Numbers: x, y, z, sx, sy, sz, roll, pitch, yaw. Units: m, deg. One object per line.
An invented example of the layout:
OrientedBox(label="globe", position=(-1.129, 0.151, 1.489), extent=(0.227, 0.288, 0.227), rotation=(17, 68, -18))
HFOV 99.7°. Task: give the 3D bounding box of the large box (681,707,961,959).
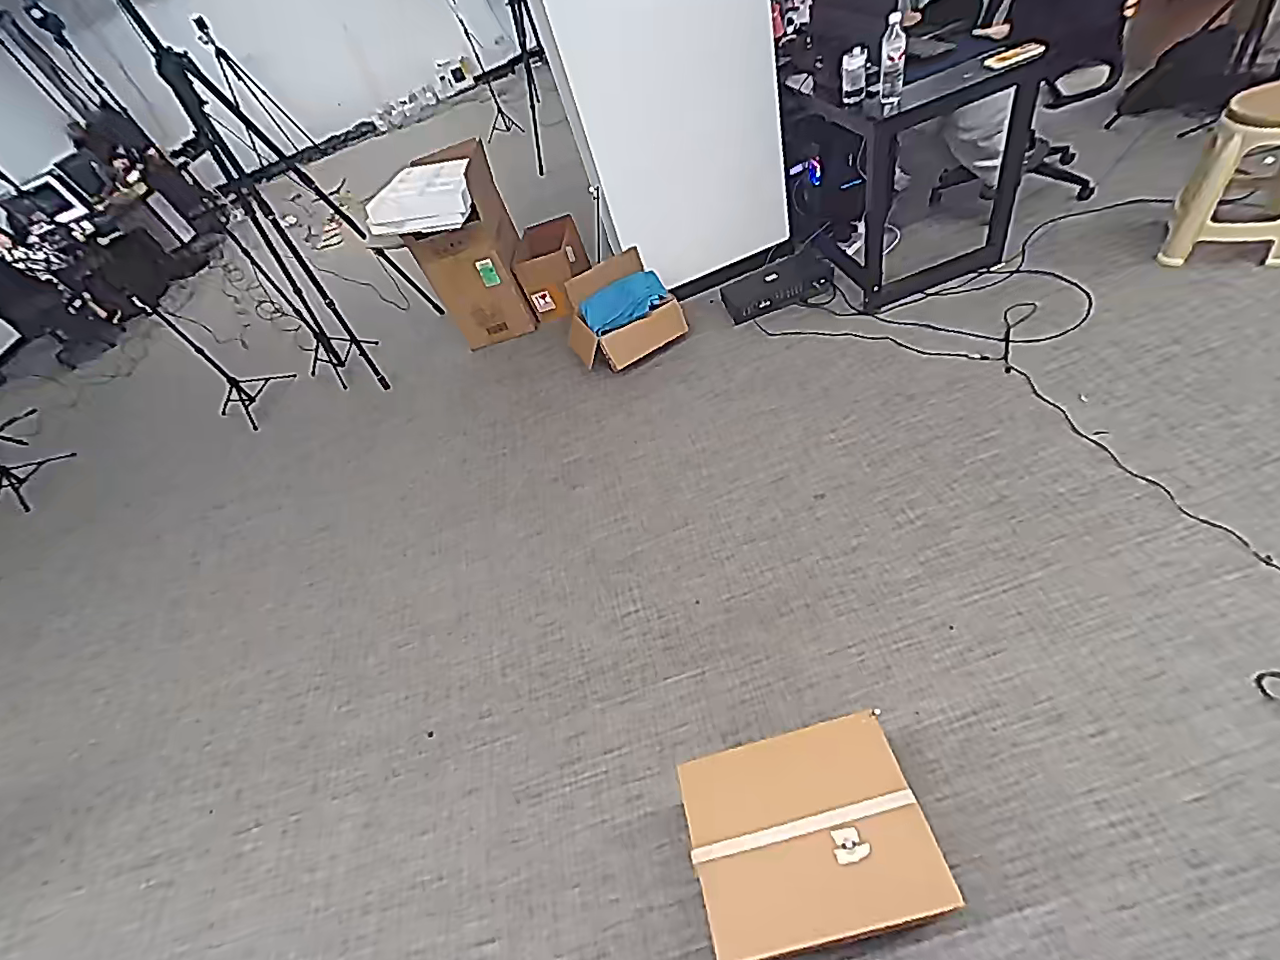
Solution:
OrientedBox(label="large box", position=(0.335, 0.711, 1.074), extent=(0.408, 0.320, 0.320), rotation=(-18, 47, 4))
